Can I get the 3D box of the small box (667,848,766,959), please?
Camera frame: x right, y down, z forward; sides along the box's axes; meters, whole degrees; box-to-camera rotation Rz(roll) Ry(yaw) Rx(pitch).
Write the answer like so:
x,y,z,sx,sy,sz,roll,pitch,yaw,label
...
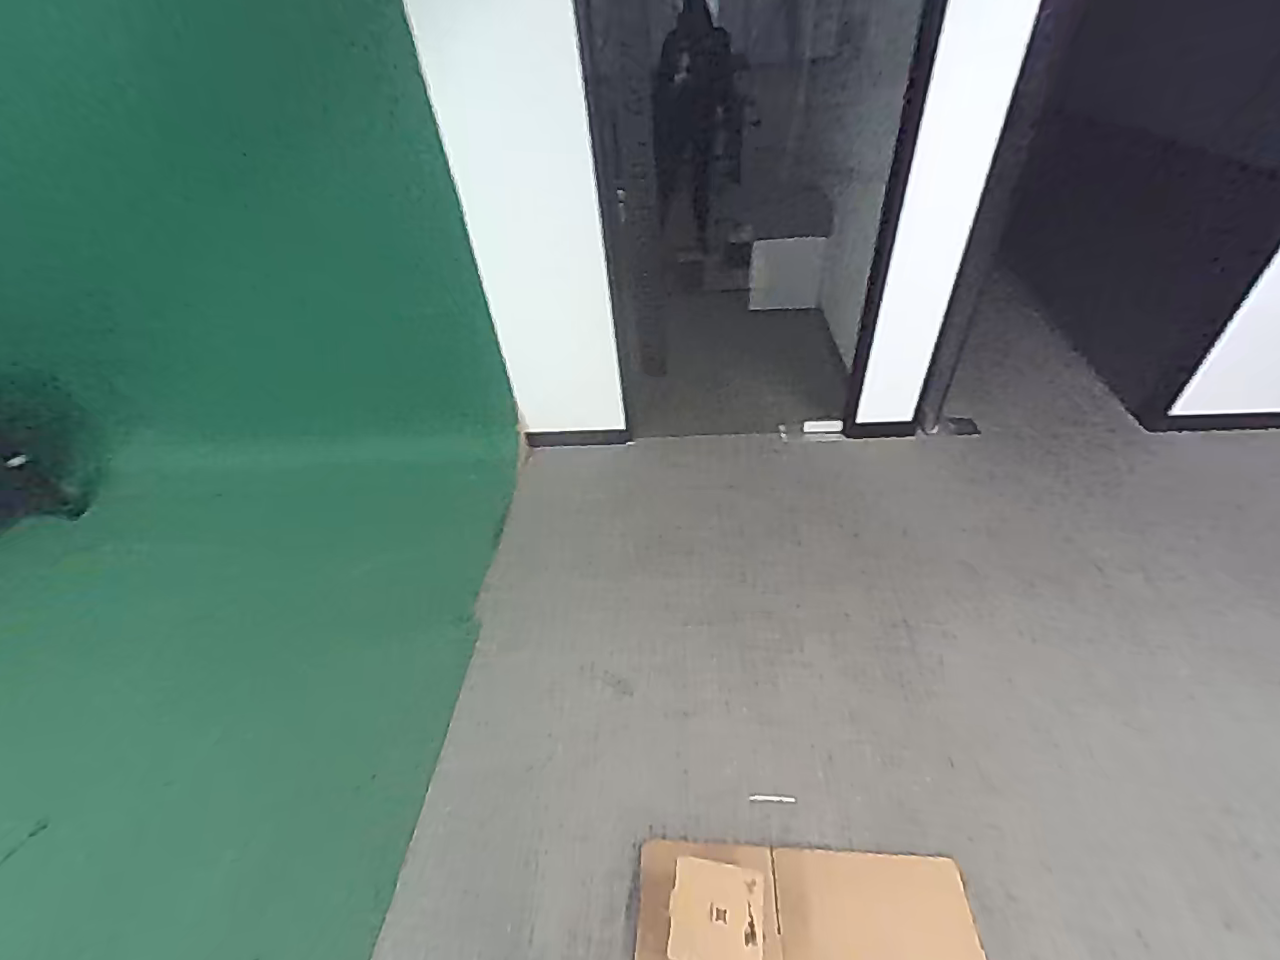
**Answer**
x,y,z,sx,sy,sz,roll,pitch,yaw,label
0.156,0.871,1.081,0.179,0.176,0.168,4,43,11,small box
